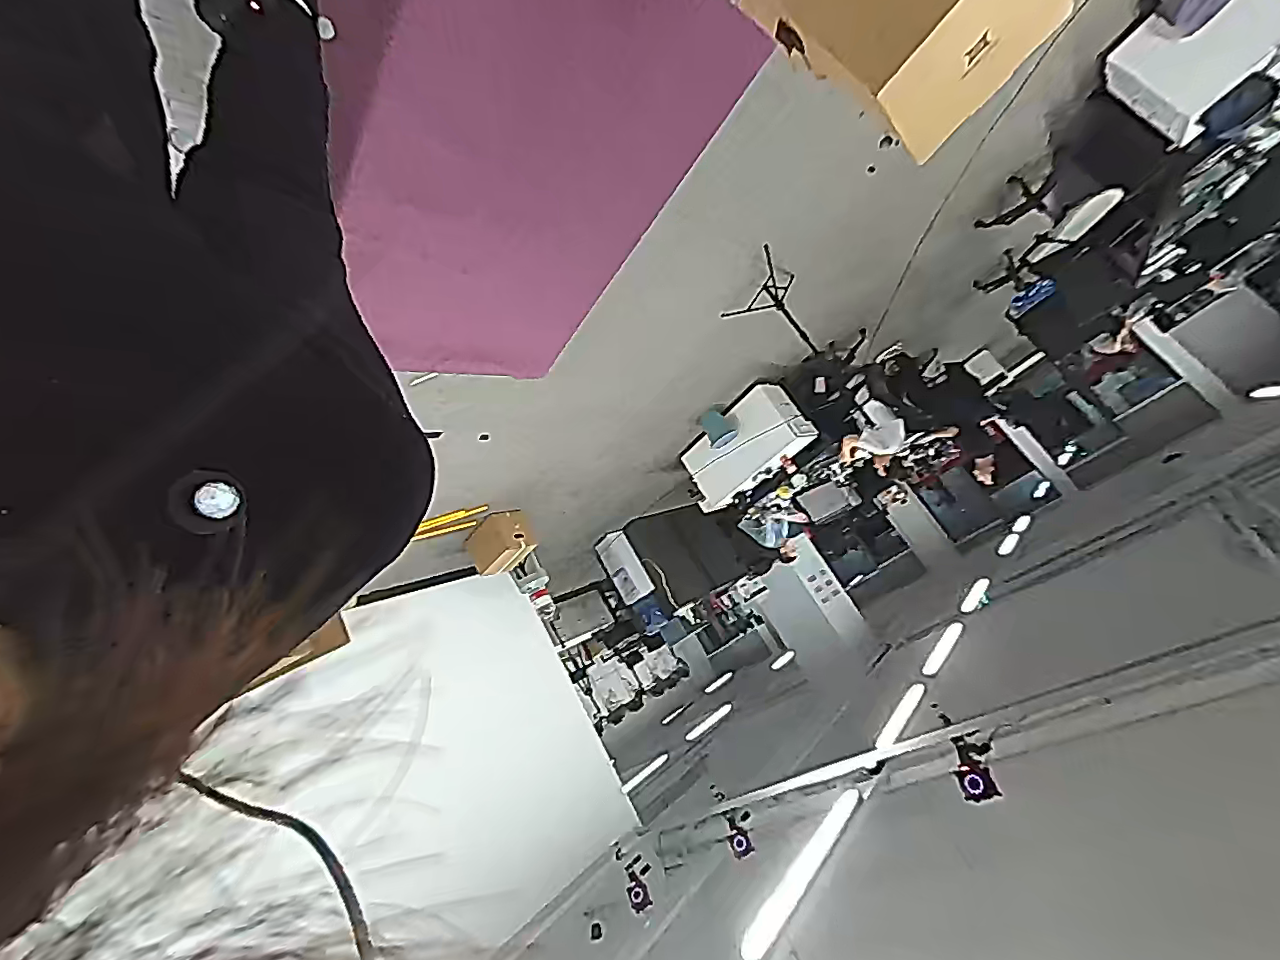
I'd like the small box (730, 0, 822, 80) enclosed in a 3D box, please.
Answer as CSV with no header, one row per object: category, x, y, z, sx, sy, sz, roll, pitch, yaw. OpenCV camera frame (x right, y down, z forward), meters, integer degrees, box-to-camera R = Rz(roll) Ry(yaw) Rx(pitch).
small box,0.180,-0.594,0.570,0.179,0.176,0.168,-41,160,28

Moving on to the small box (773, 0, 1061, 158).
small box,0.260,-0.462,0.519,0.179,0.176,0.168,-11,153,-51
